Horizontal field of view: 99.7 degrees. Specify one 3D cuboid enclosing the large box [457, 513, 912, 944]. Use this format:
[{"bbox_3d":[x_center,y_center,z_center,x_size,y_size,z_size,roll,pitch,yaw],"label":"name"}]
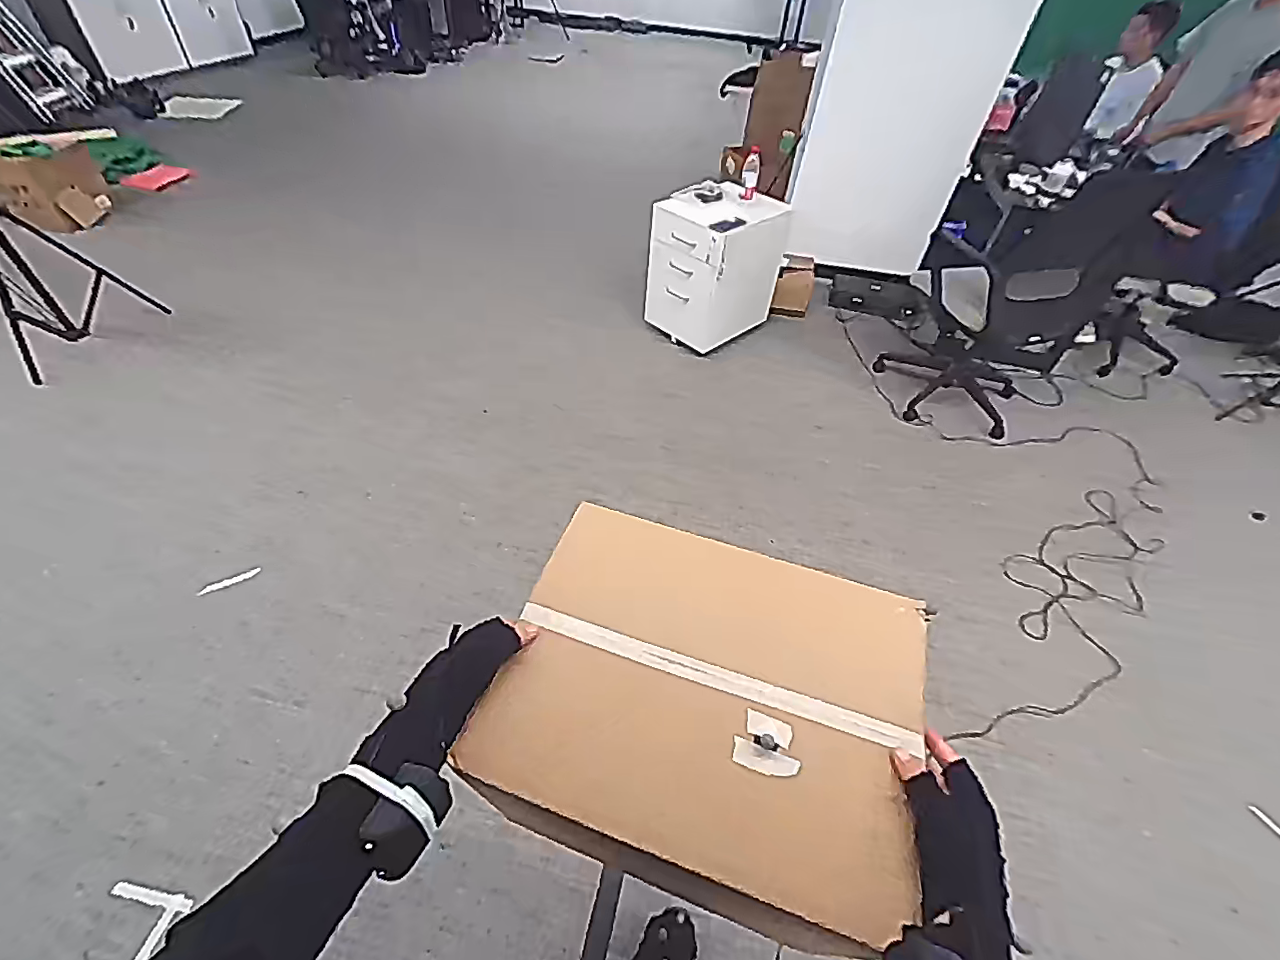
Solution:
[{"bbox_3d":[0.060,0.294,0.658,0.408,0.320,0.320,16,52,11],"label":"large box"}]
